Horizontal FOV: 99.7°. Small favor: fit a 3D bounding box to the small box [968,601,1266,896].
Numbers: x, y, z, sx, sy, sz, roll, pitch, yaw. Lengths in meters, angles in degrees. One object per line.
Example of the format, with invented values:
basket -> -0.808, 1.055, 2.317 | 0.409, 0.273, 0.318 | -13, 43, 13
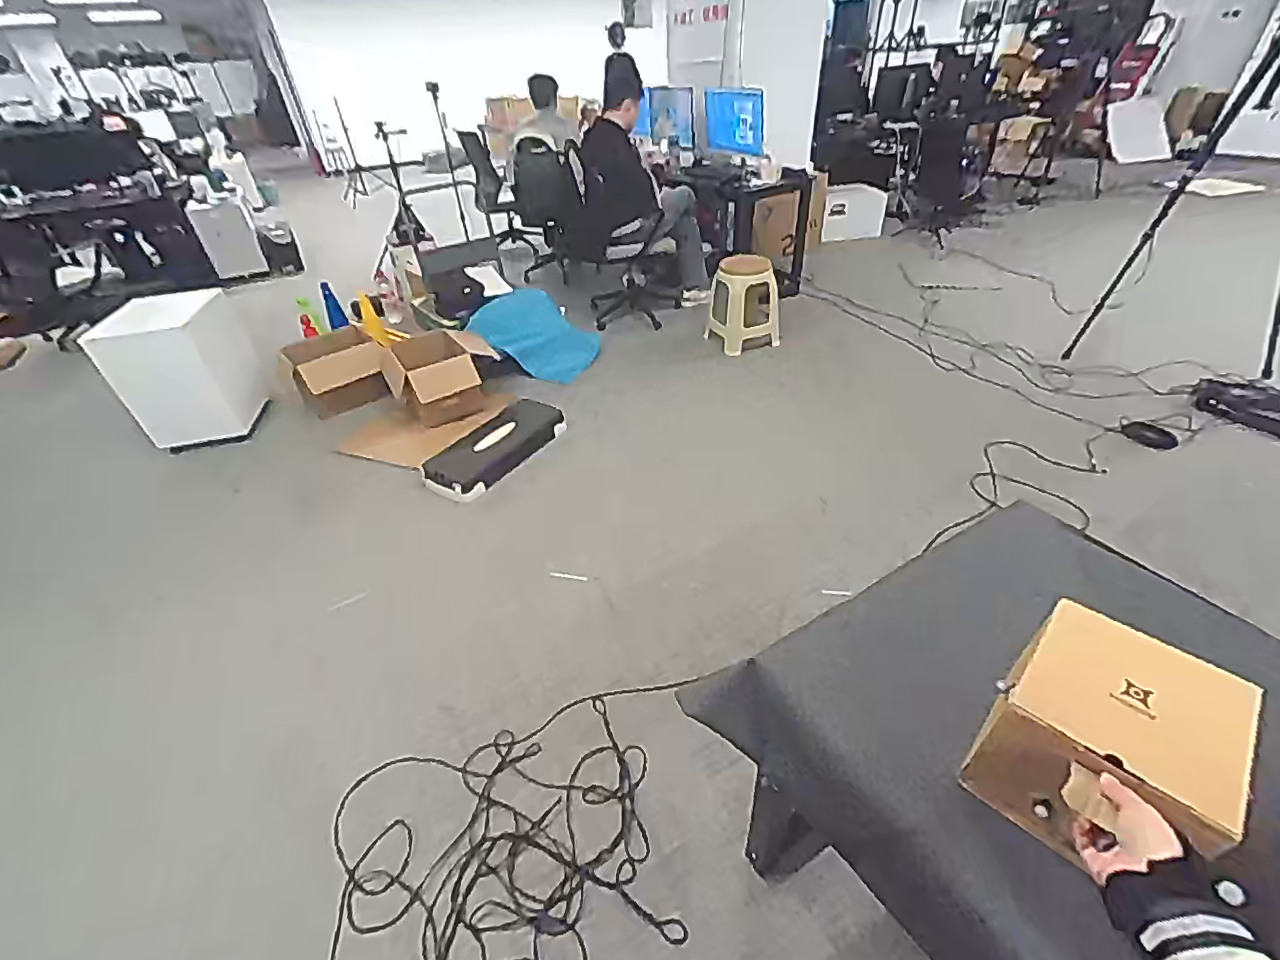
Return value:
small box -> 0.472, 0.268, 0.556 | 0.168, 0.176, 0.179 | 30, 50, 35
